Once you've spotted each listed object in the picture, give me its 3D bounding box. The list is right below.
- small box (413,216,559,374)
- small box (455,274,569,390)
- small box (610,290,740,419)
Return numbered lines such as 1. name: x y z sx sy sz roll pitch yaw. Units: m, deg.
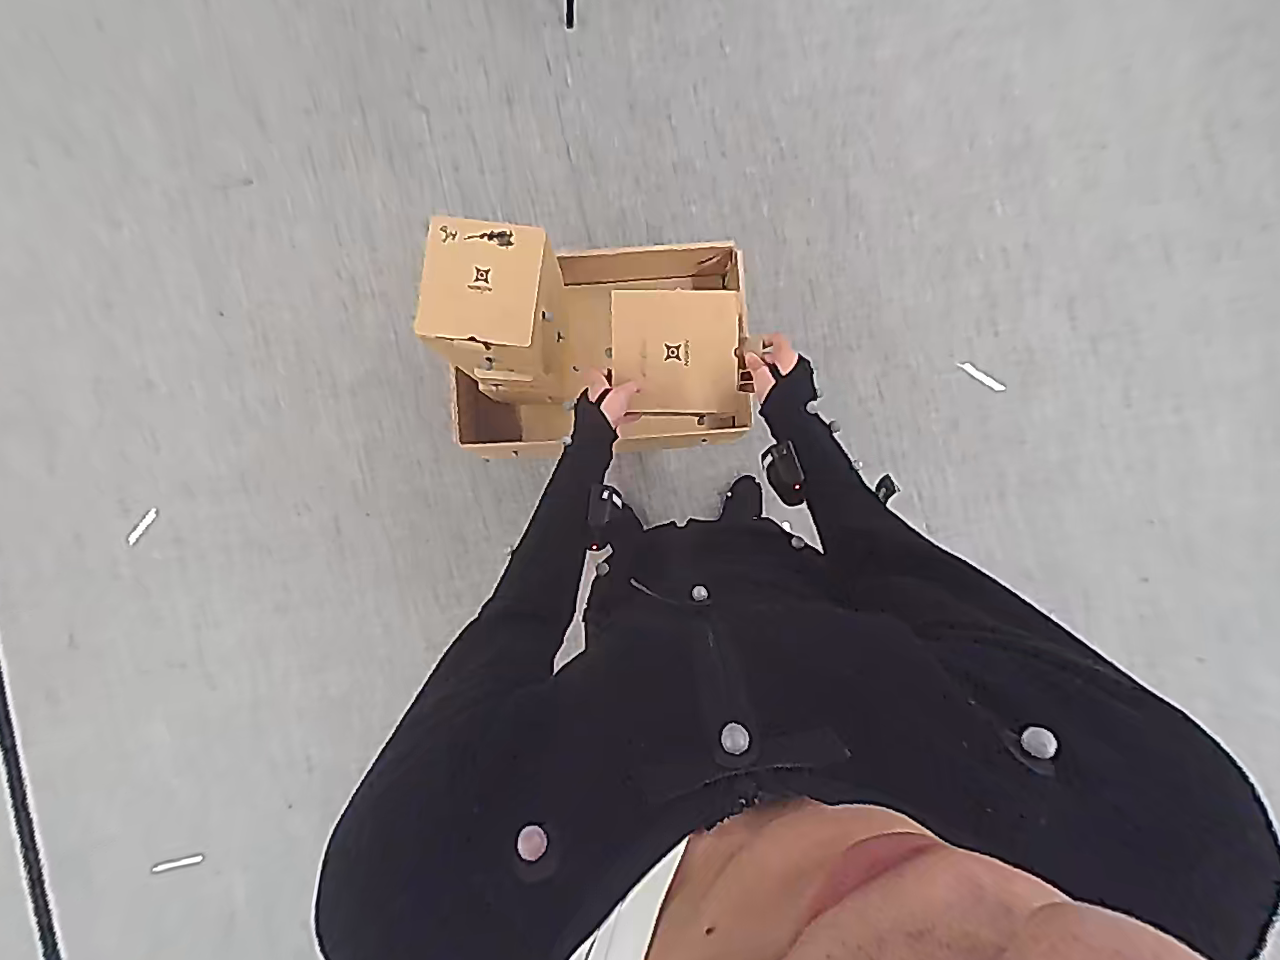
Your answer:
1. small box: -0.225 -0.271 0.833 0.168 0.176 0.179 8 88 0
2. small box: -0.227 -0.270 0.998 0.168 0.176 0.179 4 87 0
3. small box: 0.046 -0.179 0.809 0.179 0.176 0.168 0 95 0
